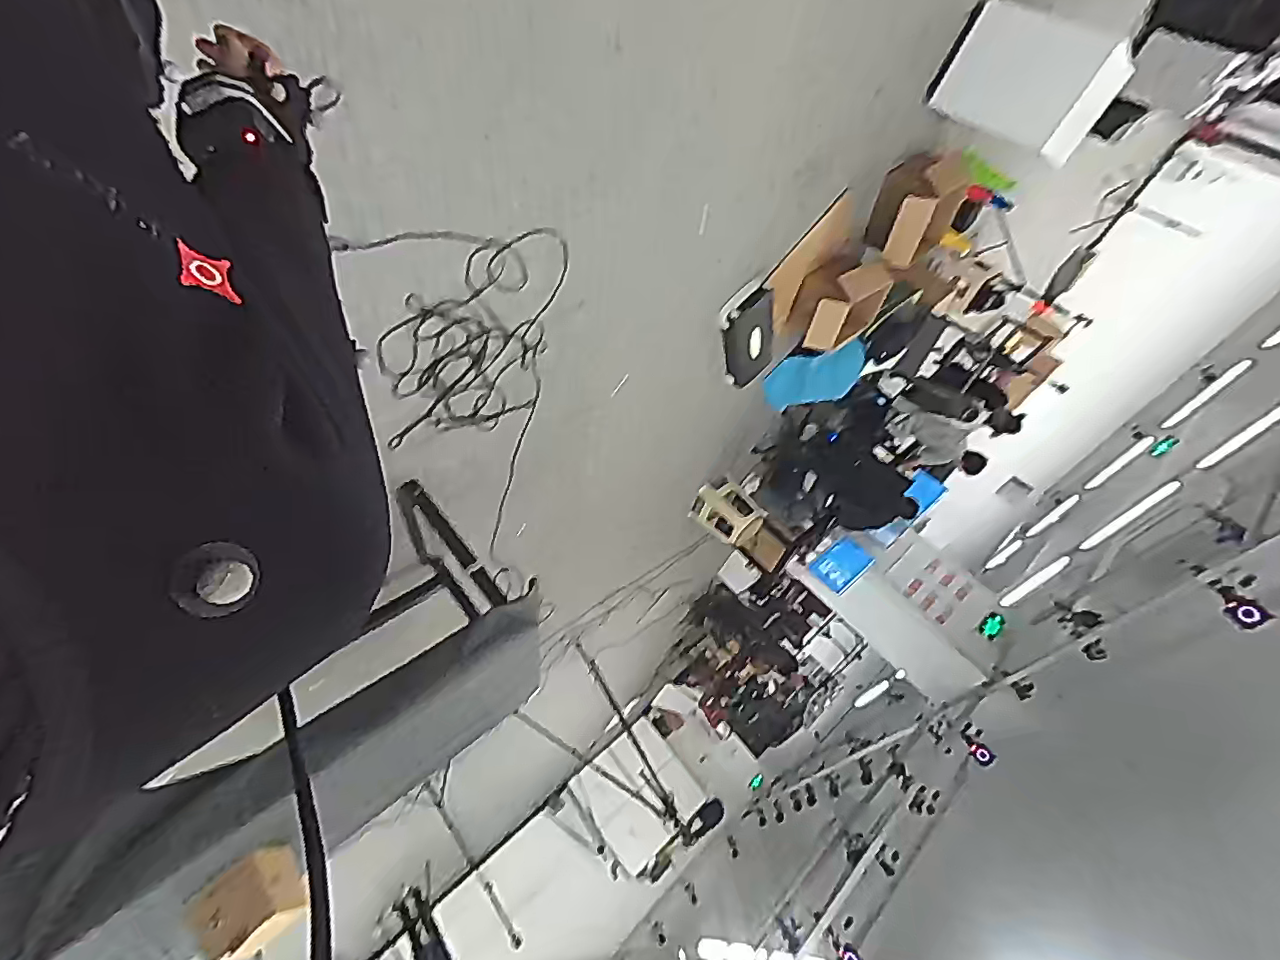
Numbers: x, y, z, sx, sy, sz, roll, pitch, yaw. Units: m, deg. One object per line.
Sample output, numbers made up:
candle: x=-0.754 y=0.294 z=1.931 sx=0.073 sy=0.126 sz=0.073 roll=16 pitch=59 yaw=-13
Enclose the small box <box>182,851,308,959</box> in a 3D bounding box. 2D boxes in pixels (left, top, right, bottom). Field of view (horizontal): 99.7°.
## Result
small box: x=-0.973 y=1.055 z=1.335 sx=0.168 sy=0.176 sz=0.179 roll=-35 pitch=156 yaw=-20
